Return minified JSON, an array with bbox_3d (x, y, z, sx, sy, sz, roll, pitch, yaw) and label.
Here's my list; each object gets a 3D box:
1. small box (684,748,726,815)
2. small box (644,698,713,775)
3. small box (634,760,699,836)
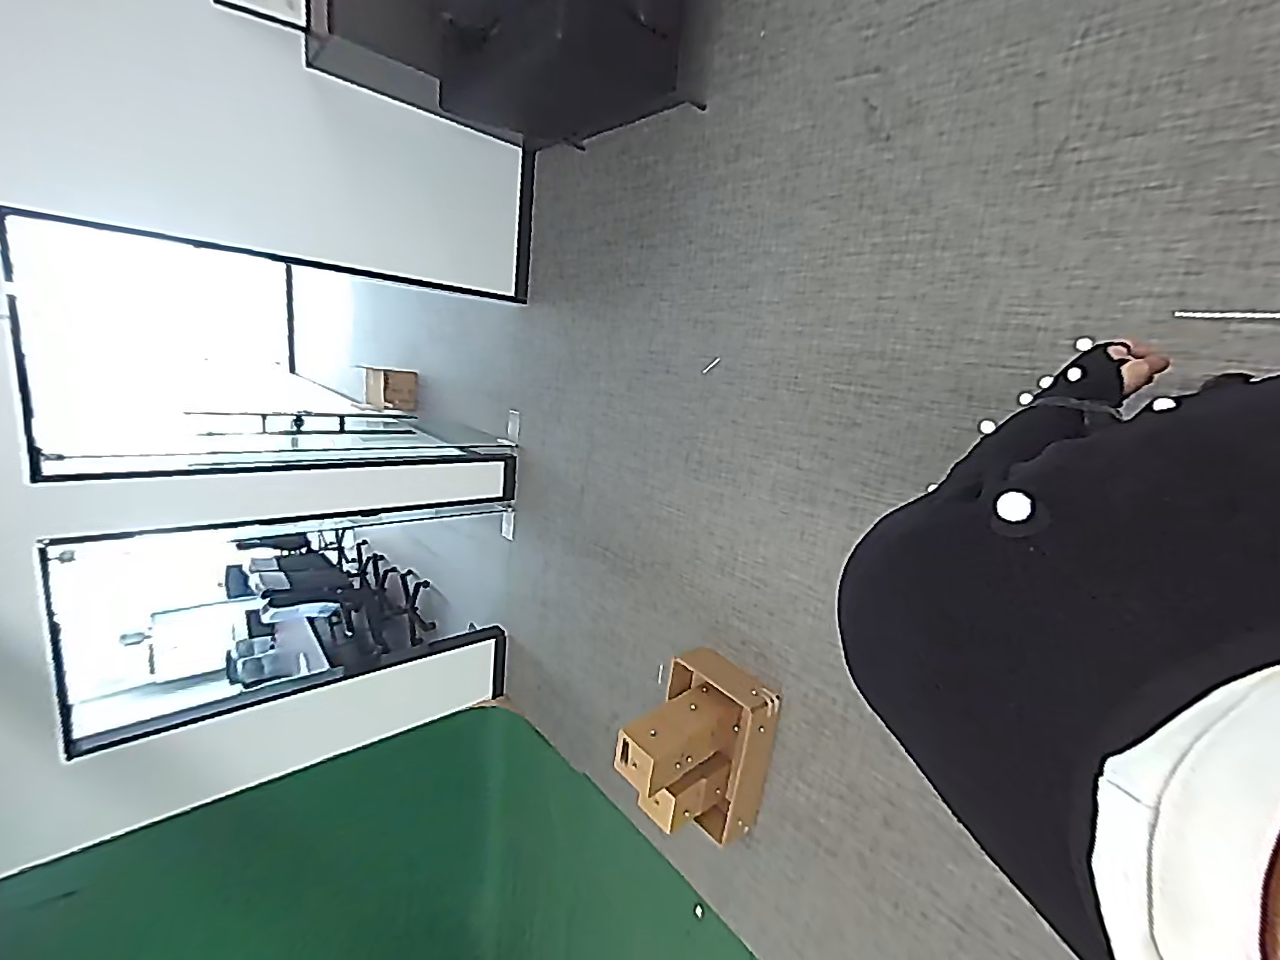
[{"bbox_3d":[0.220,1.179,2.157,0.179,0.176,0.168,21,108,45],"label":"small box"},{"bbox_3d":[0.140,0.929,1.985,0.179,0.176,0.168,21,111,45],"label":"small box"},{"bbox_3d":[0.102,1.183,2.046,0.179,0.176,0.168,20,107,45],"label":"small box"}]
